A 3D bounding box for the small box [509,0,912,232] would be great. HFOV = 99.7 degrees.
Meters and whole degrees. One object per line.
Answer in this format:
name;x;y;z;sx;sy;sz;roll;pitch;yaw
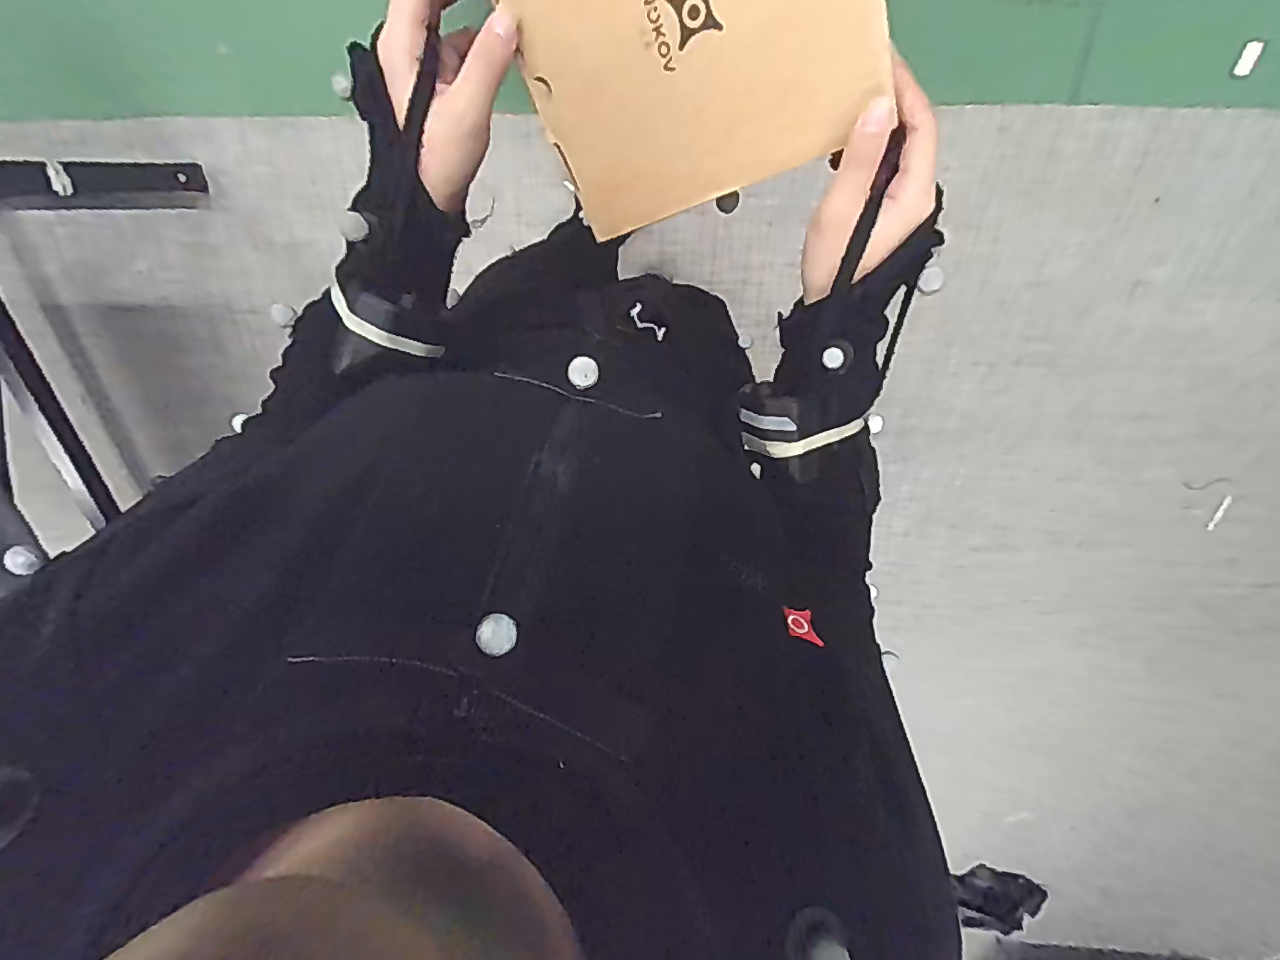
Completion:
small box;0.041;-0.280;0.315;0.179;0.176;0.168;-11;127;23
